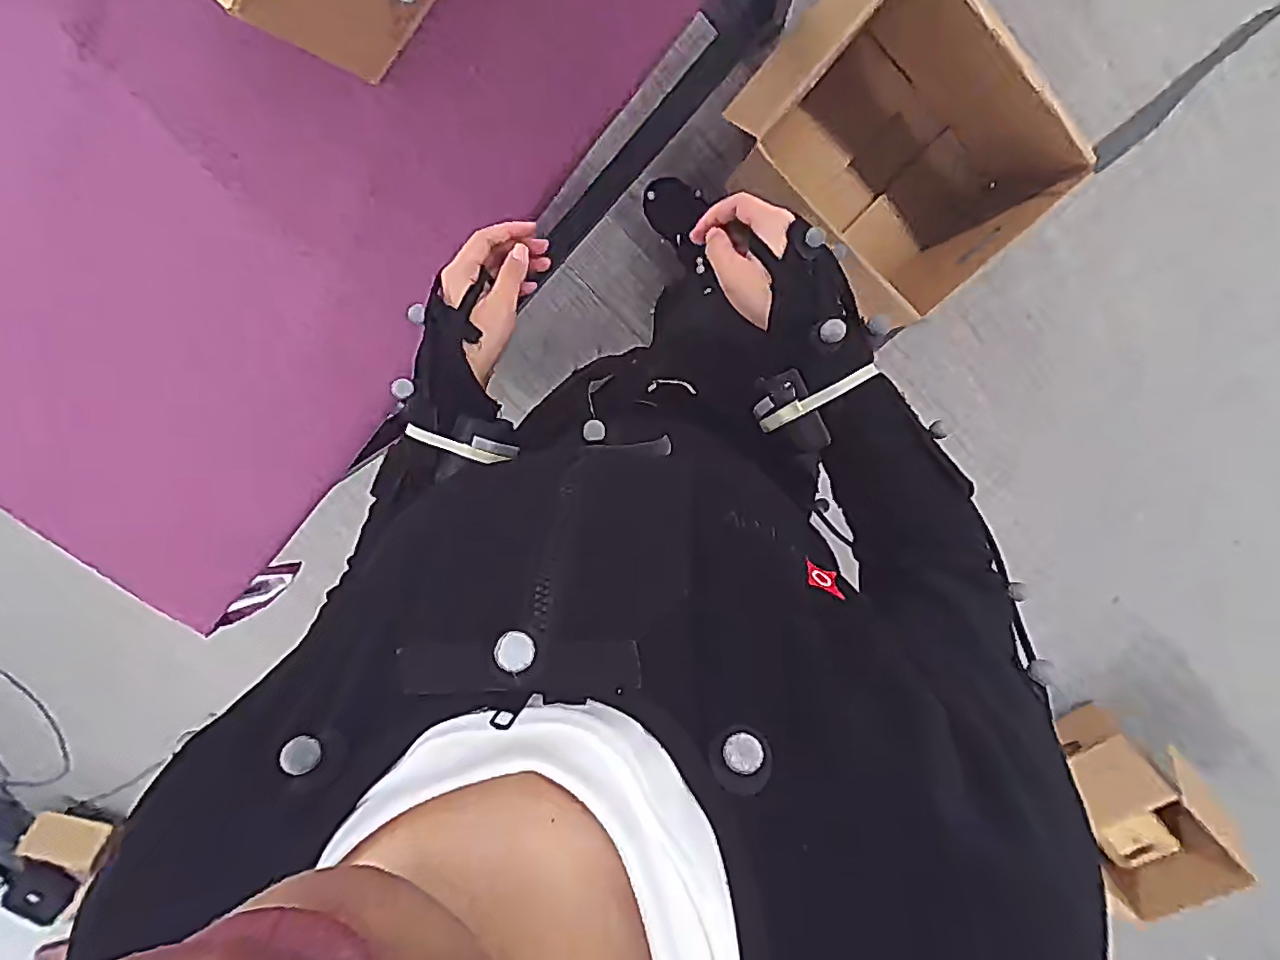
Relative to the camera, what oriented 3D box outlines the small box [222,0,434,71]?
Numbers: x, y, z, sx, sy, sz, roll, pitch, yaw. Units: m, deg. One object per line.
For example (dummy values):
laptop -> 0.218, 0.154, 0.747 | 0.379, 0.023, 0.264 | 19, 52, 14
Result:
small box -> -0.251, -0.443, 0.378 | 0.168, 0.176, 0.179 | -38, 103, 20
